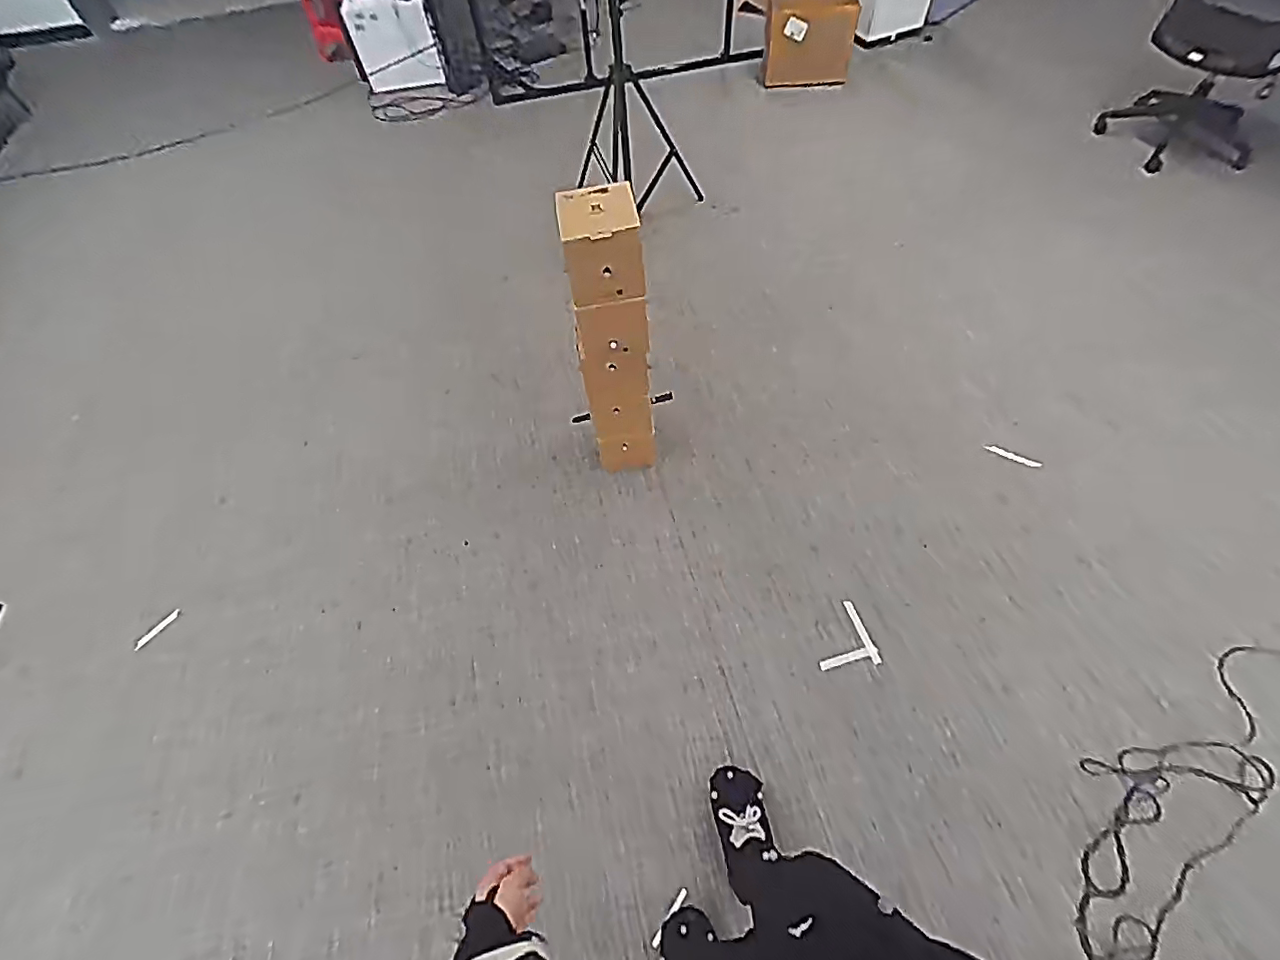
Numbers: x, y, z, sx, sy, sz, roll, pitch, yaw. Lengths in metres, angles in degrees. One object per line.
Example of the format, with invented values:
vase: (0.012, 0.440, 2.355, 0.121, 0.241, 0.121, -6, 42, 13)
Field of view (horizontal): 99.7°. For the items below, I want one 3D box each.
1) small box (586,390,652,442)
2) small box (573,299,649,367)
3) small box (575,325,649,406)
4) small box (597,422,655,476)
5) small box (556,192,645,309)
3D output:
small box: (-0.060, -0.225, 1.606, 0.179, 0.176, 0.168, -5, 58, 2)
small box: (-0.072, -0.405, 1.334, 0.168, 0.176, 0.179, -8, 59, 1)
small box: (-0.073, -0.318, 1.474, 0.179, 0.176, 0.168, -7, 58, 0)
small box: (-0.047, -0.131, 1.739, 0.179, 0.176, 0.168, -8, 58, 0)
small box: (-0.085, -0.500, 1.200, 0.168, 0.176, 0.179, -10, 59, -1)
